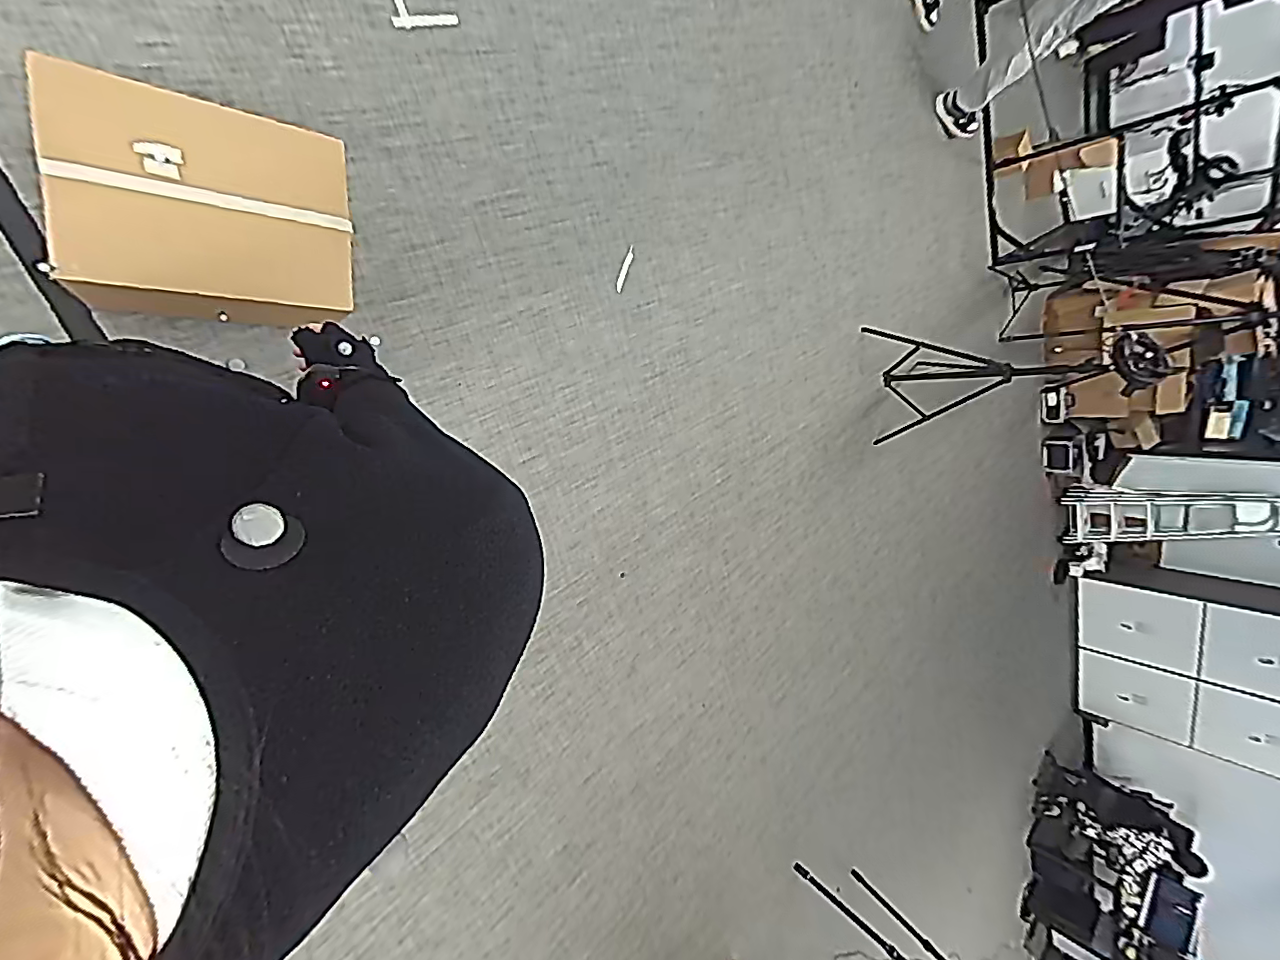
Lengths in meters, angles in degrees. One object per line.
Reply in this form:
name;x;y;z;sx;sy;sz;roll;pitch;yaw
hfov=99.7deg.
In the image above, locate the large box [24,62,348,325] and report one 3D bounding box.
large box;-0.815;-0.483;1.029;0.408;0.320;0.320;-5;98;-37
